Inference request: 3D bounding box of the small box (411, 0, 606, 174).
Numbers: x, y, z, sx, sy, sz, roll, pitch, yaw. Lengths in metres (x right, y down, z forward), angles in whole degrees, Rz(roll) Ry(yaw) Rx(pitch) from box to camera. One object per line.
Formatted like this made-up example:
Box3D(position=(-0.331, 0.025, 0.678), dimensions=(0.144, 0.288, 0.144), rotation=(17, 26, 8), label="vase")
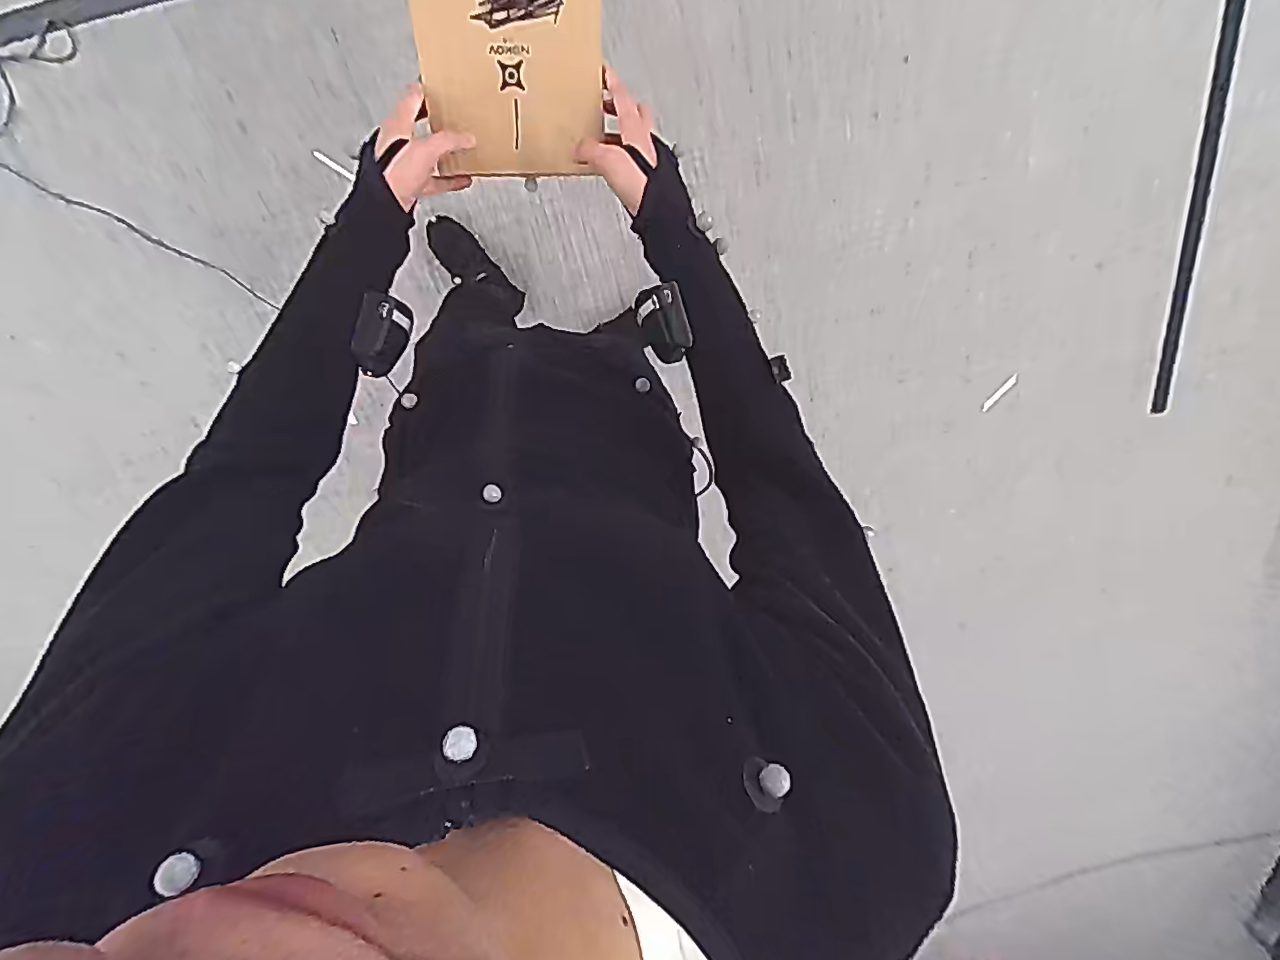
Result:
Box3D(position=(-0.121, -0.418, 0.556), dimensions=(0.168, 0.176, 0.179), rotation=(-2, 119, -2), label="small box")
